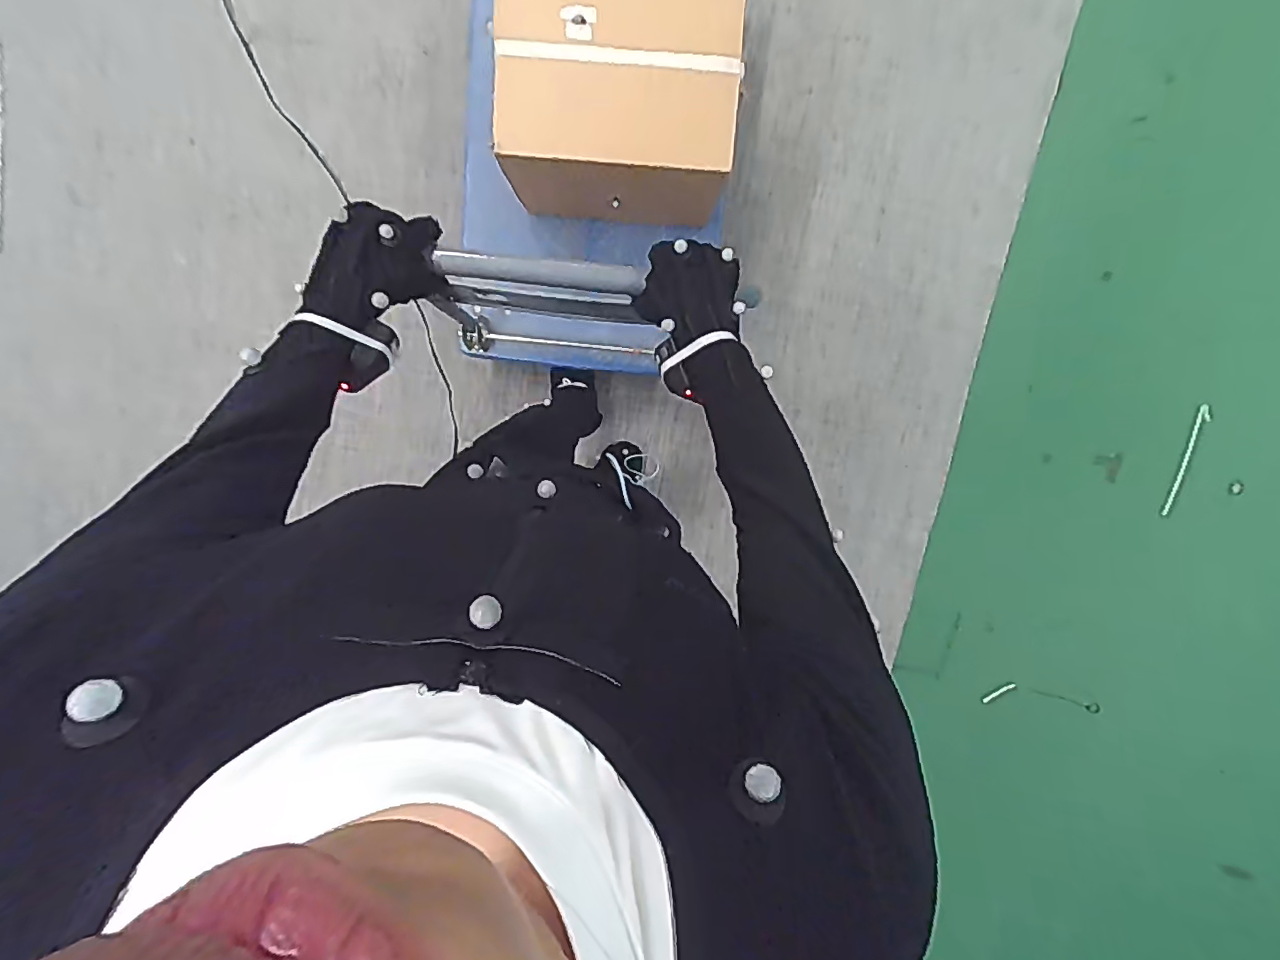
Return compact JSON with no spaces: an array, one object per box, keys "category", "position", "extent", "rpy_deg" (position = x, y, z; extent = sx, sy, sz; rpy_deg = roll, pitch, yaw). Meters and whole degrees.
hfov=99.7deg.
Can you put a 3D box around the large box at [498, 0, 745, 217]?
[{"category":"large box","position":[-0.032,-0.719,1.037],"extent":[0.408,0.320,0.320],"rpy_deg":[4,99,-1]}]
